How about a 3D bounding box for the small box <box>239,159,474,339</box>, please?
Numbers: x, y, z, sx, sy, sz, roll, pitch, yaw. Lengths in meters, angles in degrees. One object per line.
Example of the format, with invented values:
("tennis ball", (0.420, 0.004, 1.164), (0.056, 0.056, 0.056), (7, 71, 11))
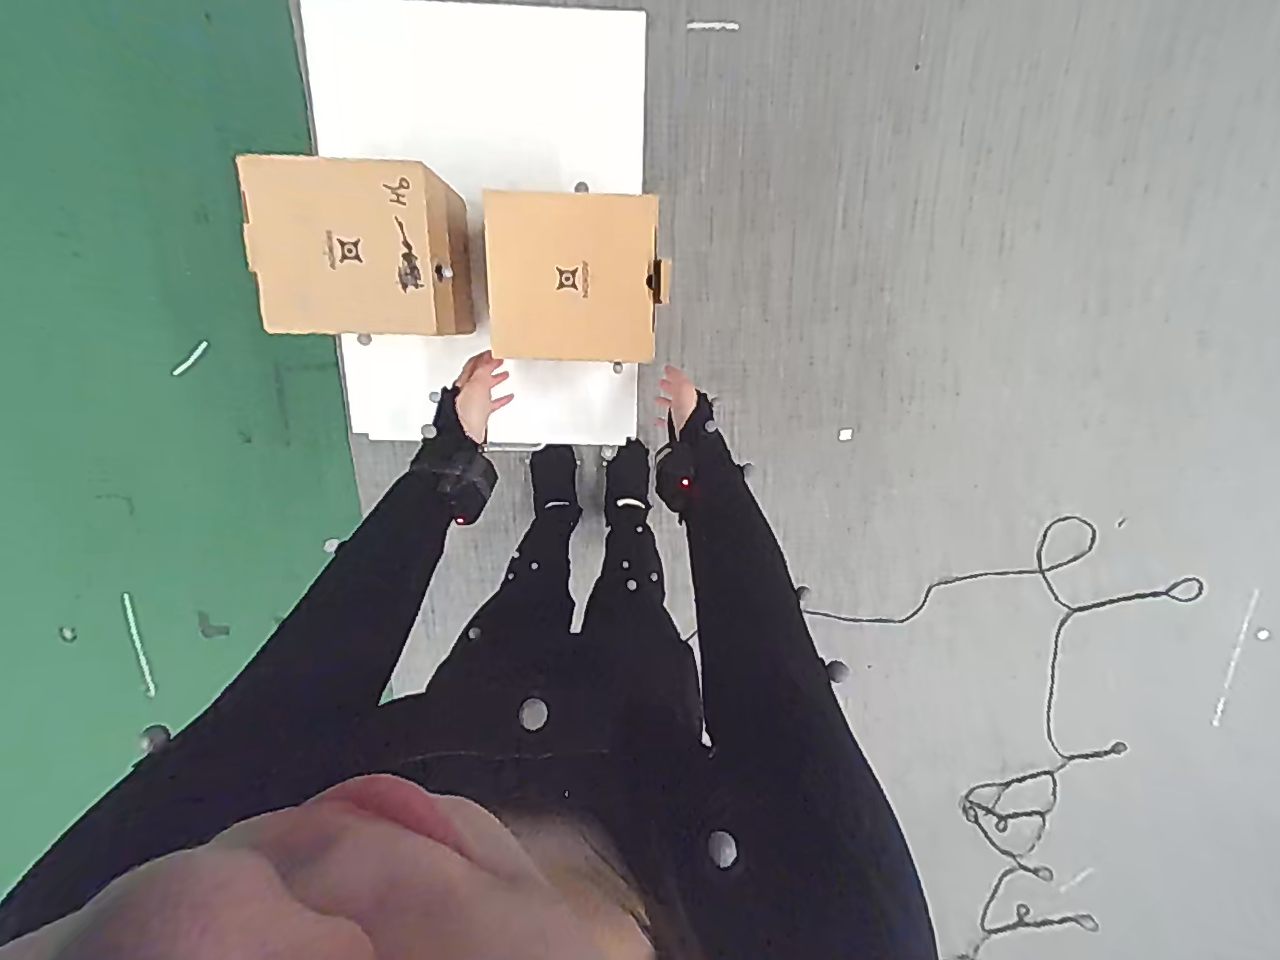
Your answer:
("small box", (-0.302, -0.248, 0.617), (0.179, 0.176, 0.168), (0, 106, -3))
